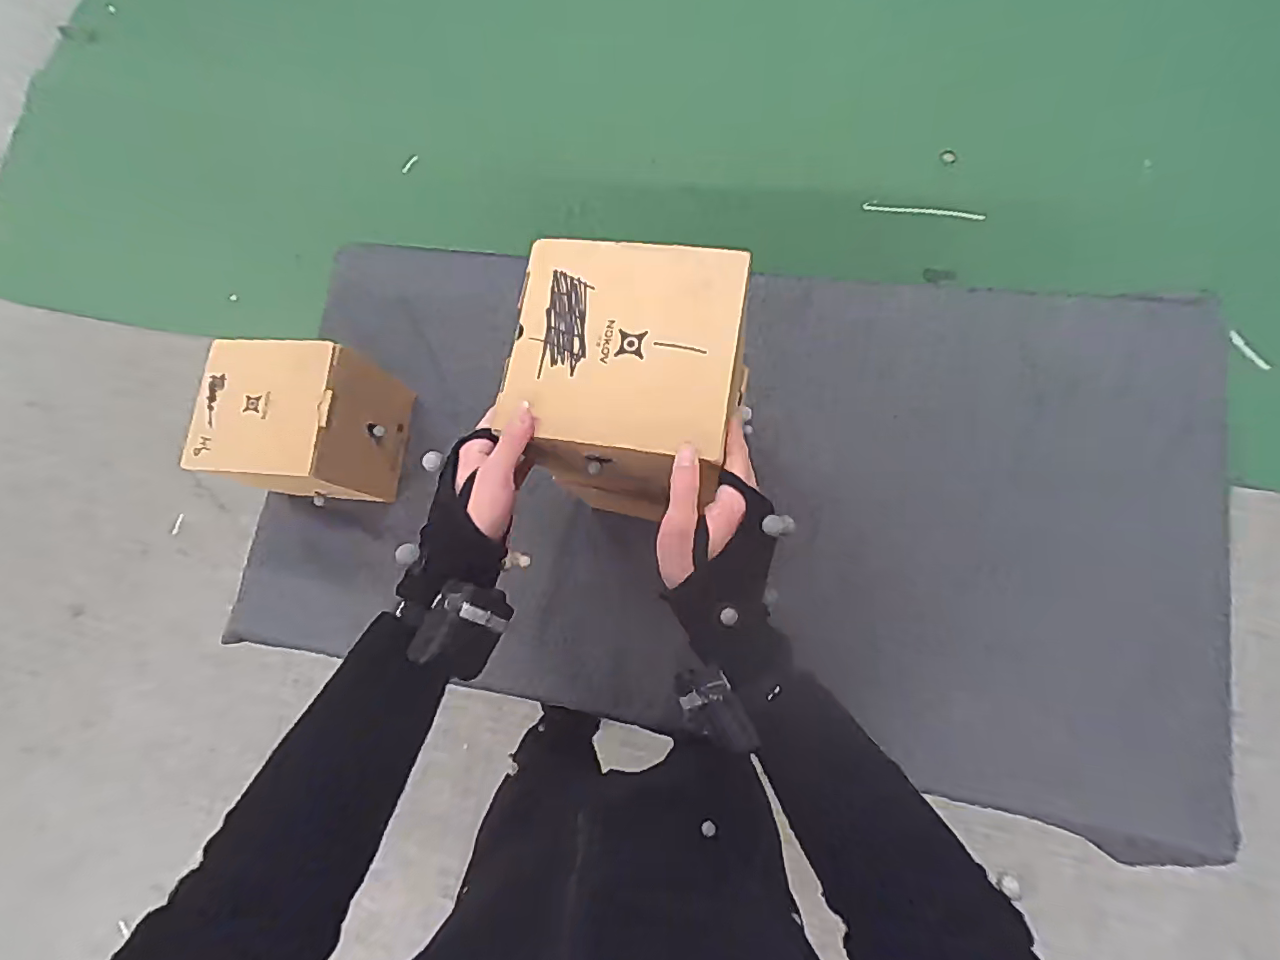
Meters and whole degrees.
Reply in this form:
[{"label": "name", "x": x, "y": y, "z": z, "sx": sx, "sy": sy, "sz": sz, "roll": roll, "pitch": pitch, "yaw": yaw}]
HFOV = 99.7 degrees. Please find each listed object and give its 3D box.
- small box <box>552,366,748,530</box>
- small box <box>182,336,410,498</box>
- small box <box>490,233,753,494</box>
[{"label": "small box", "x": 0.023, "y": -0.042, "z": 0.636, "sx": 0.179, "sy": 0.176, "sz": 0.168, "roll": 12, "pitch": 79, "yaw": 13}, {"label": "small box", "x": -0.433, "y": -0.073, "z": 0.713, "sx": 0.179, "sy": 0.176, "sz": 0.168, "roll": 4, "pitch": 78, "yaw": 8}, {"label": "small box", "x": -0.003, "y": -0.090, "z": 0.480, "sx": 0.179, "sy": 0.176, "sz": 0.168, "roll": 8, "pitch": 79, "yaw": 10}]
